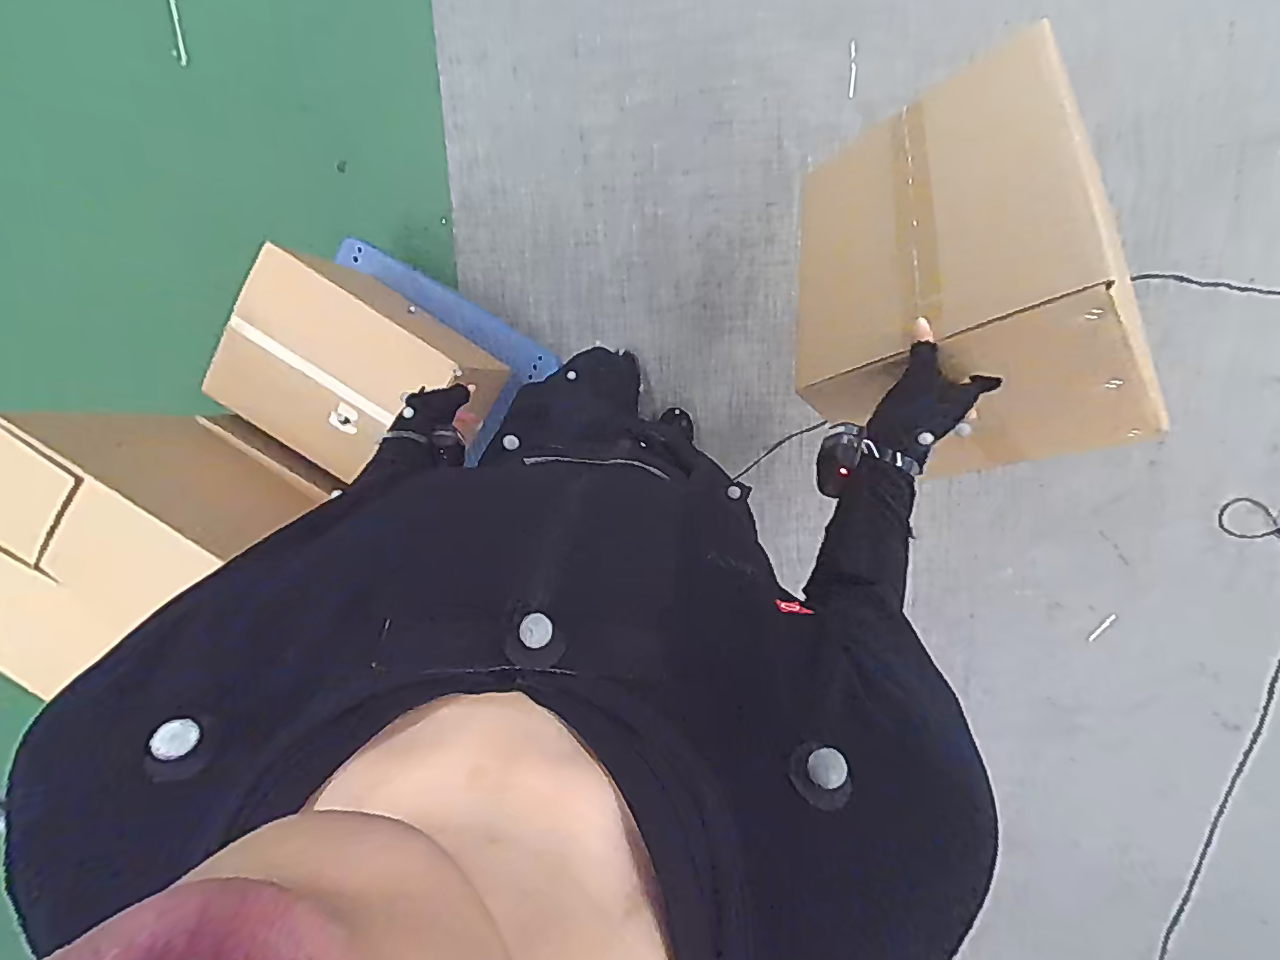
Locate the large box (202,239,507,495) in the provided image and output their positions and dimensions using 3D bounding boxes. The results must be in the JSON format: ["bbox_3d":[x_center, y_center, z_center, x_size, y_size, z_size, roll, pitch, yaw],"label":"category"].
[{"bbox_3d":[-0.559,-0.225,1.128,0.408,0.320,0.320,33,102,-3],"label":"large box"}]
